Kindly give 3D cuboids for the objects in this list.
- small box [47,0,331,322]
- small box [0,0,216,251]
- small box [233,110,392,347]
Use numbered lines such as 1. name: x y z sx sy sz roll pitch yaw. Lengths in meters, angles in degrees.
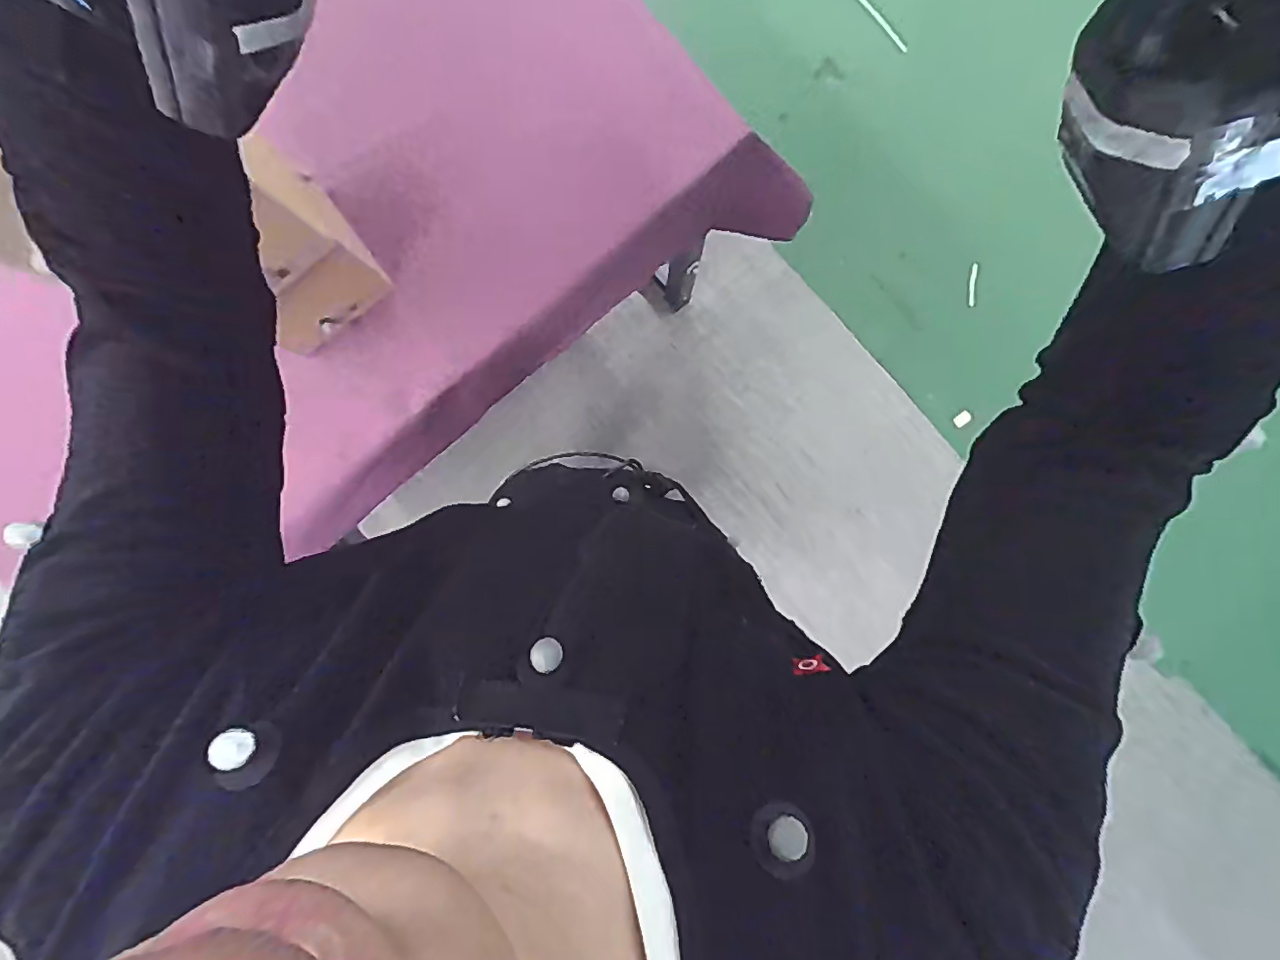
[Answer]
1. small box: -0.450 -0.283 0.515 0.168 0.176 0.179 -38 90 0
2. small box: -0.441 -0.279 0.351 0.168 0.176 0.179 -38 89 0
3. small box: -0.457 -0.296 0.678 0.168 0.176 0.179 -37 90 0
